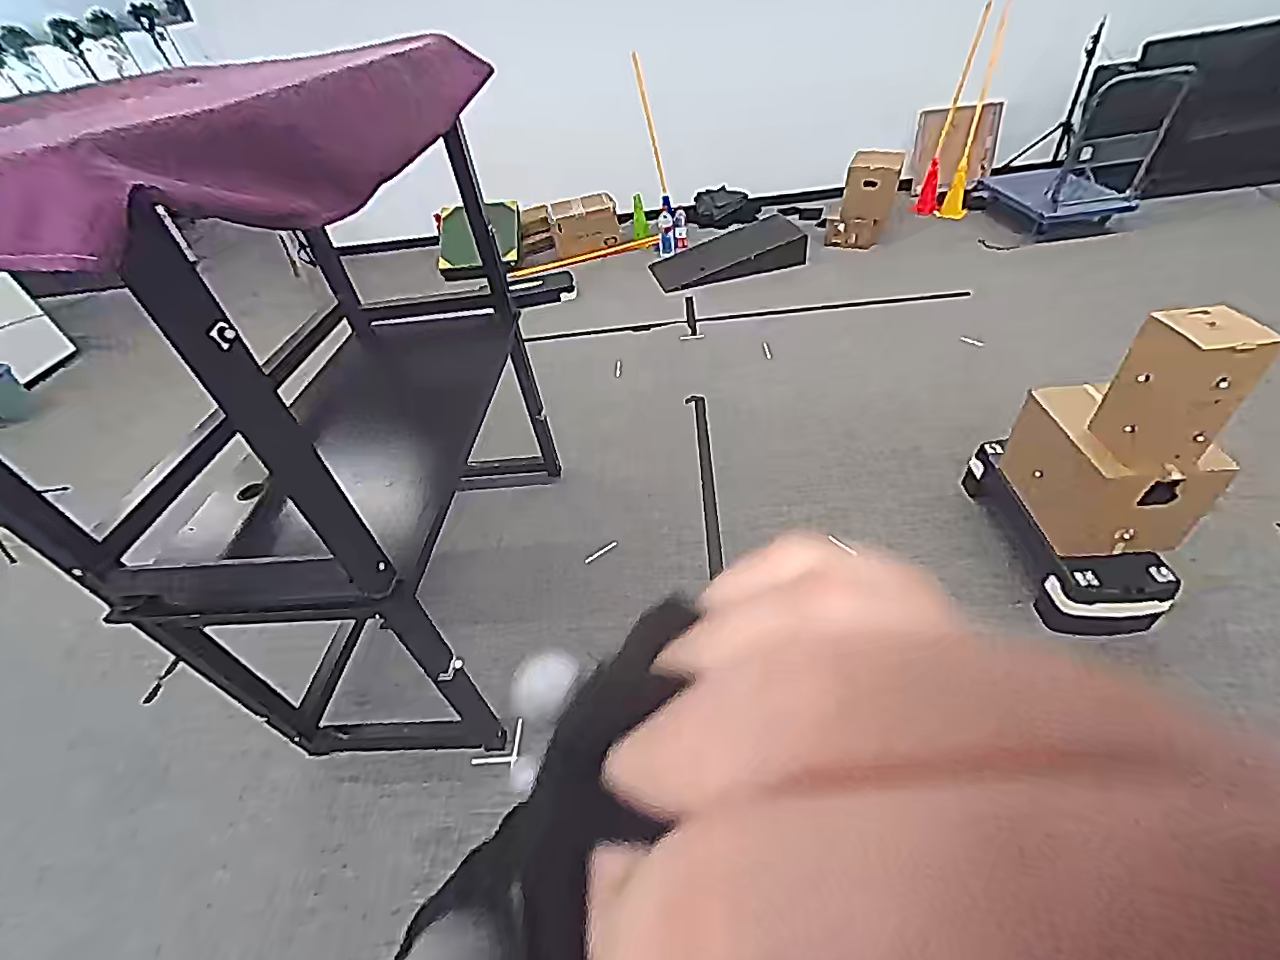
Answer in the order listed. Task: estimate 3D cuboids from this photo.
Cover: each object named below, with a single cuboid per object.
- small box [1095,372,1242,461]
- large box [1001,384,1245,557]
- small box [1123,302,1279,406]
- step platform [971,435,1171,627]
[{"bbox_3d":[1.291,-0.158,1.339,0.168,0.176,0.179,-4,41,6],"label":"small box"},{"bbox_3d":[1.335,-0.033,1.559,0.320,0.320,0.408,-4,41,5],"label":"large box"},{"bbox_3d":[1.272,-0.281,1.232,0.168,0.176,0.179,-4,43,5],"label":"small box"},{"bbox_3d":[1.339,0.125,1.742,0.286,0.204,0.684,-1,42,10],"label":"step platform"}]
